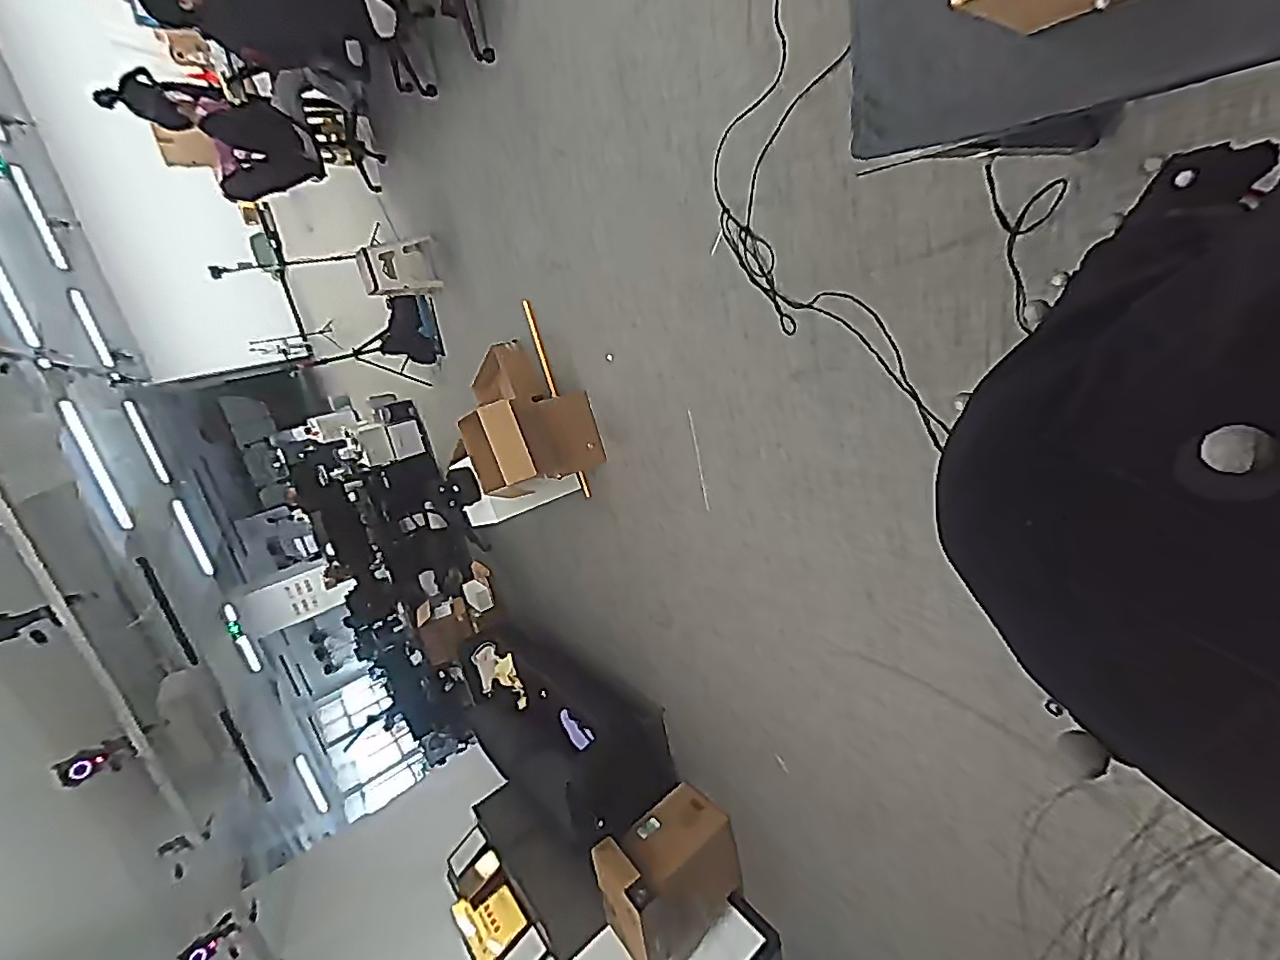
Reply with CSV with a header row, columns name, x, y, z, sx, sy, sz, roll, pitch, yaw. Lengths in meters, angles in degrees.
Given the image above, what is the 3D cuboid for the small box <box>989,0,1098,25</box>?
name,x,y,z,sx,sy,sz,roll,pitch,yaw
small box,0.374,-0.511,0.430,0.168,0.176,0.179,17,122,50
